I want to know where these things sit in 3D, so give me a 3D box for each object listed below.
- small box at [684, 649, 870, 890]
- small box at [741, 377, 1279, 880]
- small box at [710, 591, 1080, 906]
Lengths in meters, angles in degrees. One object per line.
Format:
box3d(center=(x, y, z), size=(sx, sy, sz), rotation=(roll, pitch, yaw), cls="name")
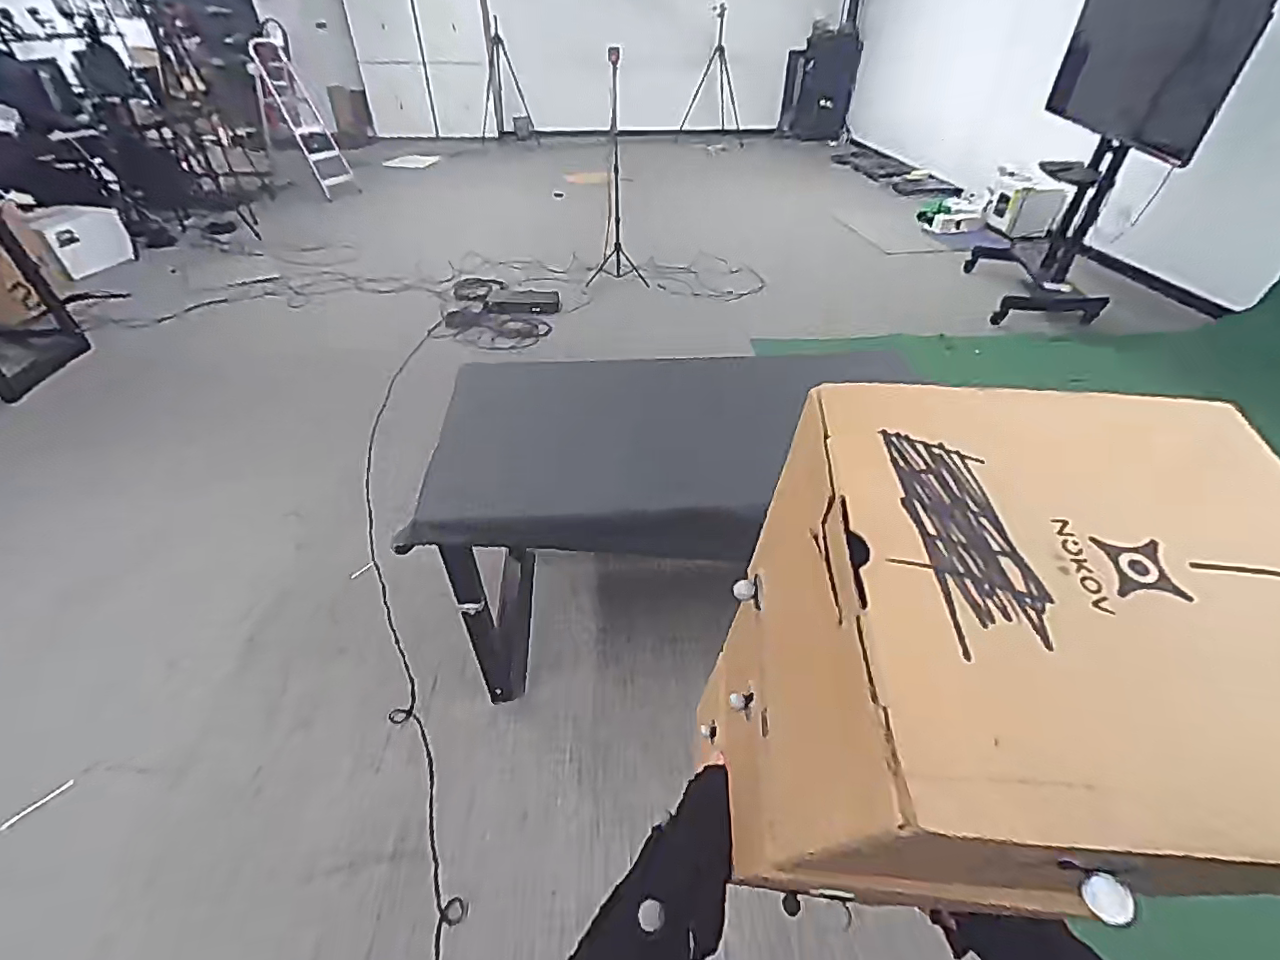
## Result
box3d(center=(0.142, 0.272, 0.508), size=(0.179, 0.176, 0.168), rotation=(7, 53, 3), cls="small box")
box3d(center=(0.142, 0.073, 0.248), size=(0.179, 0.176, 0.168), rotation=(4, 53, 2), cls="small box")
box3d(center=(0.141, 0.173, 0.378), size=(0.168, 0.176, 0.179), rotation=(6, 54, 4), cls="small box")
